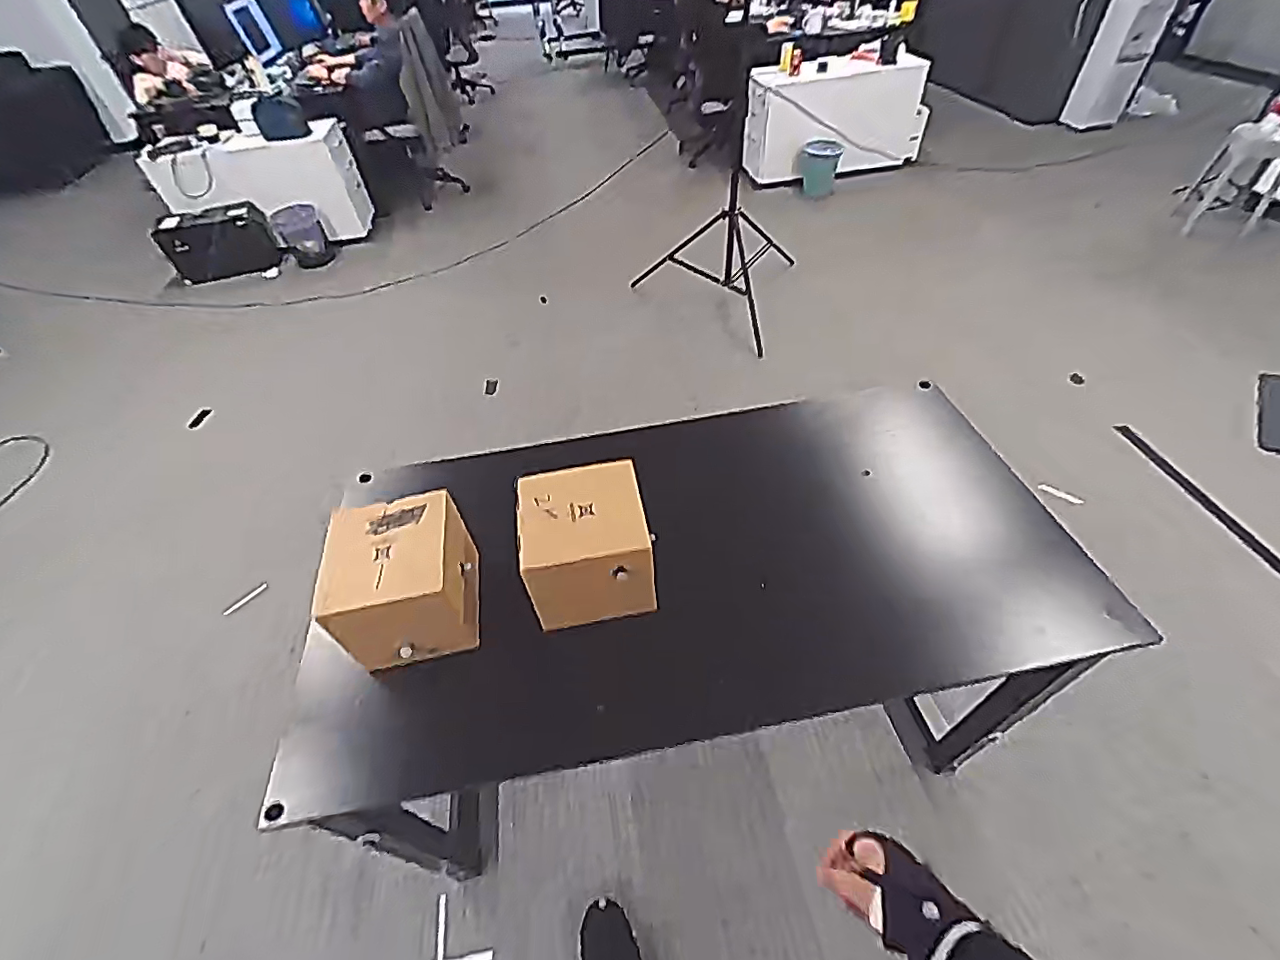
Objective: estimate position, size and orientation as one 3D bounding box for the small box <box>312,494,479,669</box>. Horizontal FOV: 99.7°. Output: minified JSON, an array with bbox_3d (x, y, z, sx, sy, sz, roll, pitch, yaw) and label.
[{"bbox_3d":[-0.343,0.150,0.797,0.168,0.176,0.179,-11,49,-5],"label":"small box"}]

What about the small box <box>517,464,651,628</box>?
[{"bbox_3d":[-0.081,0.102,0.817,0.179,0.176,0.168,-10,48,-4],"label":"small box"}]
